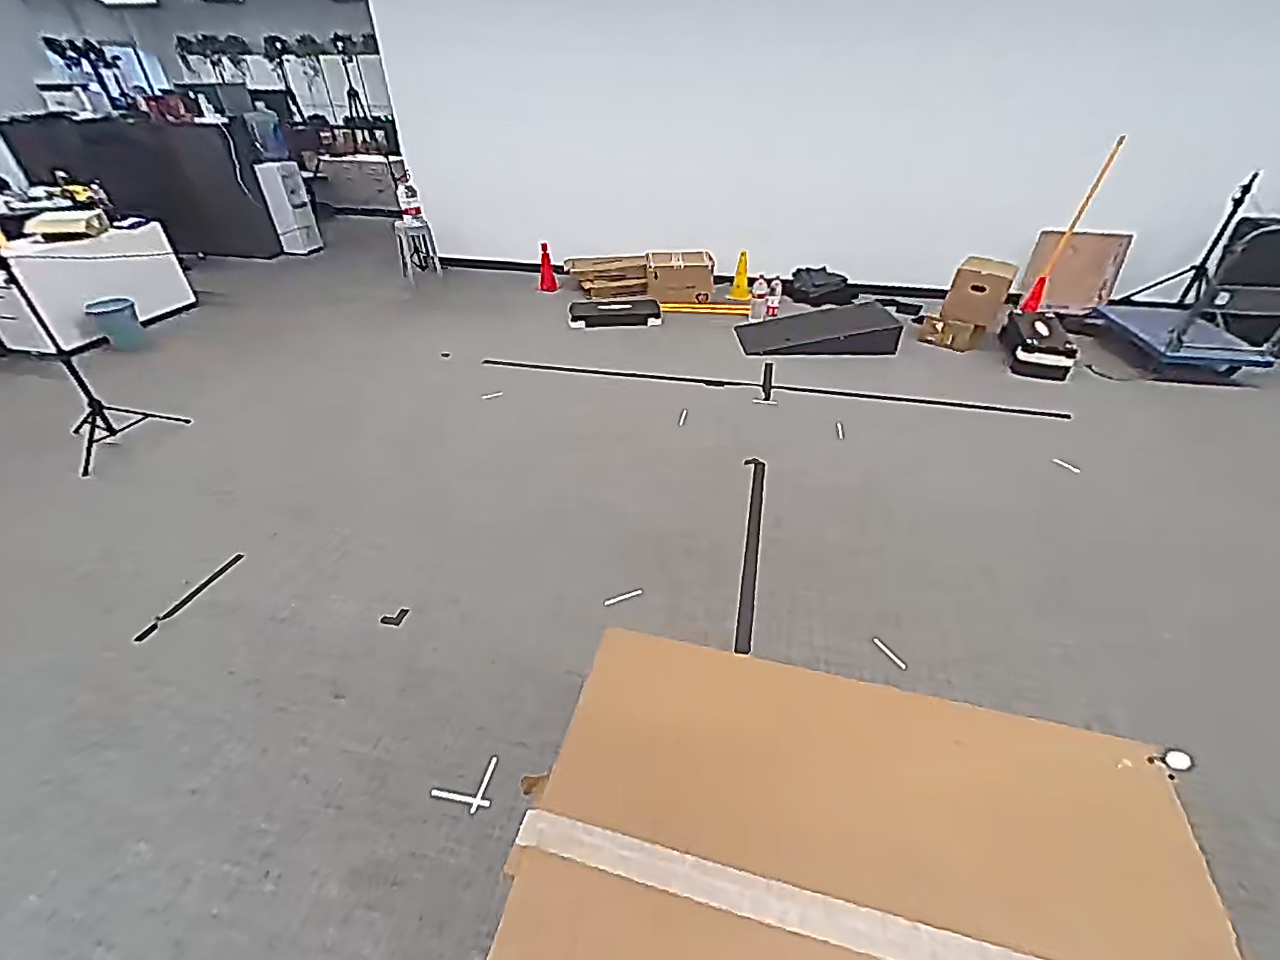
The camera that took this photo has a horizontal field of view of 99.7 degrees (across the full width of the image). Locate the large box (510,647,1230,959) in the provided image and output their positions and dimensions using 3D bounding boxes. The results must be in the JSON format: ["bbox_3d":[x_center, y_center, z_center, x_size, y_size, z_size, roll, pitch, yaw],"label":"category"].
[{"bbox_3d":[0.131,0.378,0.417,0.408,0.320,0.320,9,44,11],"label":"large box"}]
